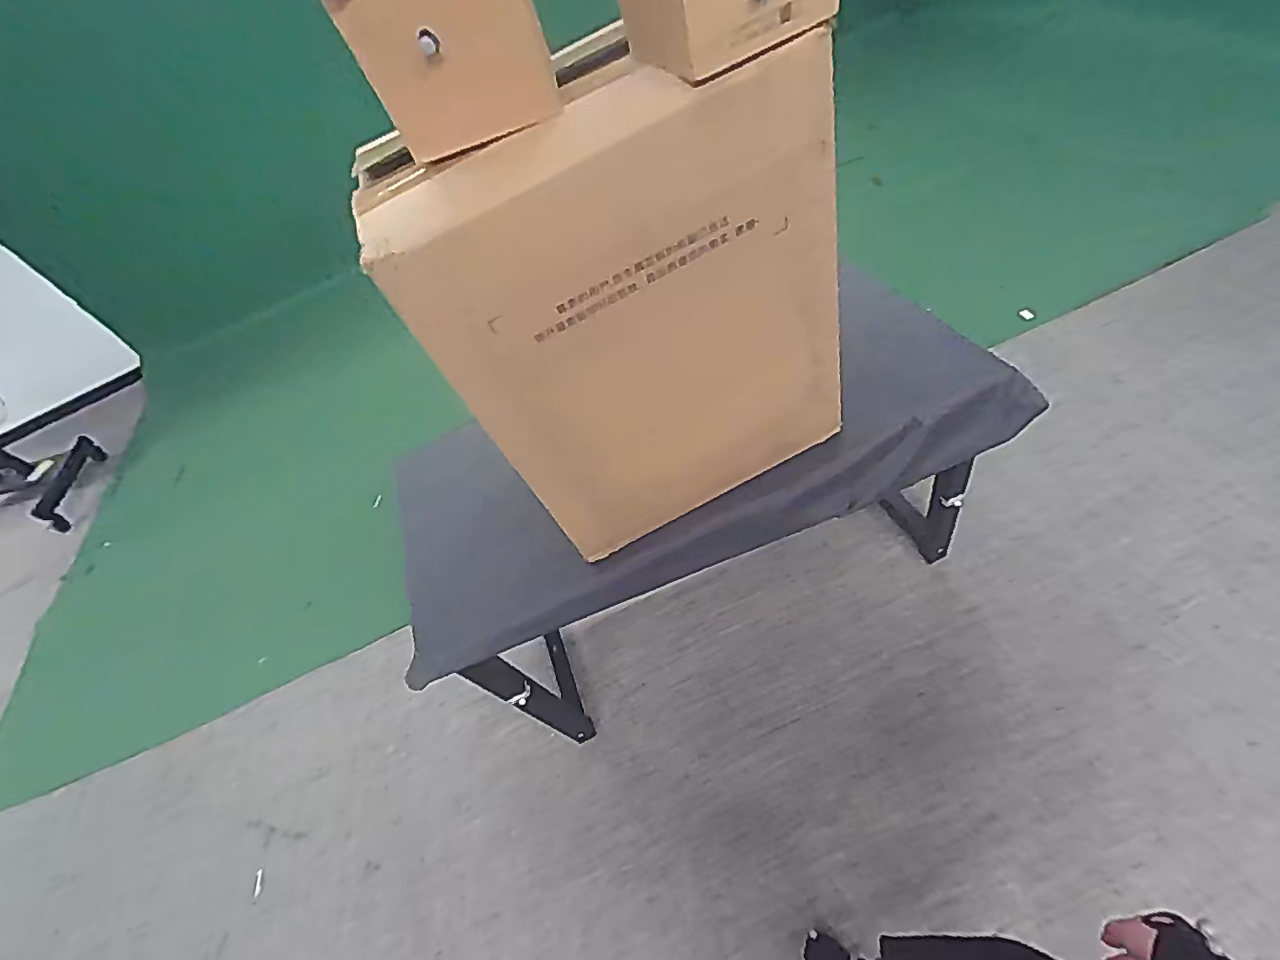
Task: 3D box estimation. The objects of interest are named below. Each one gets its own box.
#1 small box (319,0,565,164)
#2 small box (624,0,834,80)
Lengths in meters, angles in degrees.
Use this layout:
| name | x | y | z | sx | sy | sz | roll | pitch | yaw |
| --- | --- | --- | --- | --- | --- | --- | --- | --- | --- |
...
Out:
| name | x | y | z | sx | sy | sz | roll | pitch | yaw |
| --- | --- | --- | --- | --- | --- | --- | --- | --- | --- |
| small box | -0.198 | -0.479 | 0.579 | 0.179 | 0.176 | 0.168 | -17 | 58 | 7 |
| small box | 0.074 | -0.528 | 0.531 | 0.168 | 0.176 | 0.179 | -27 | 50 | -2 |
